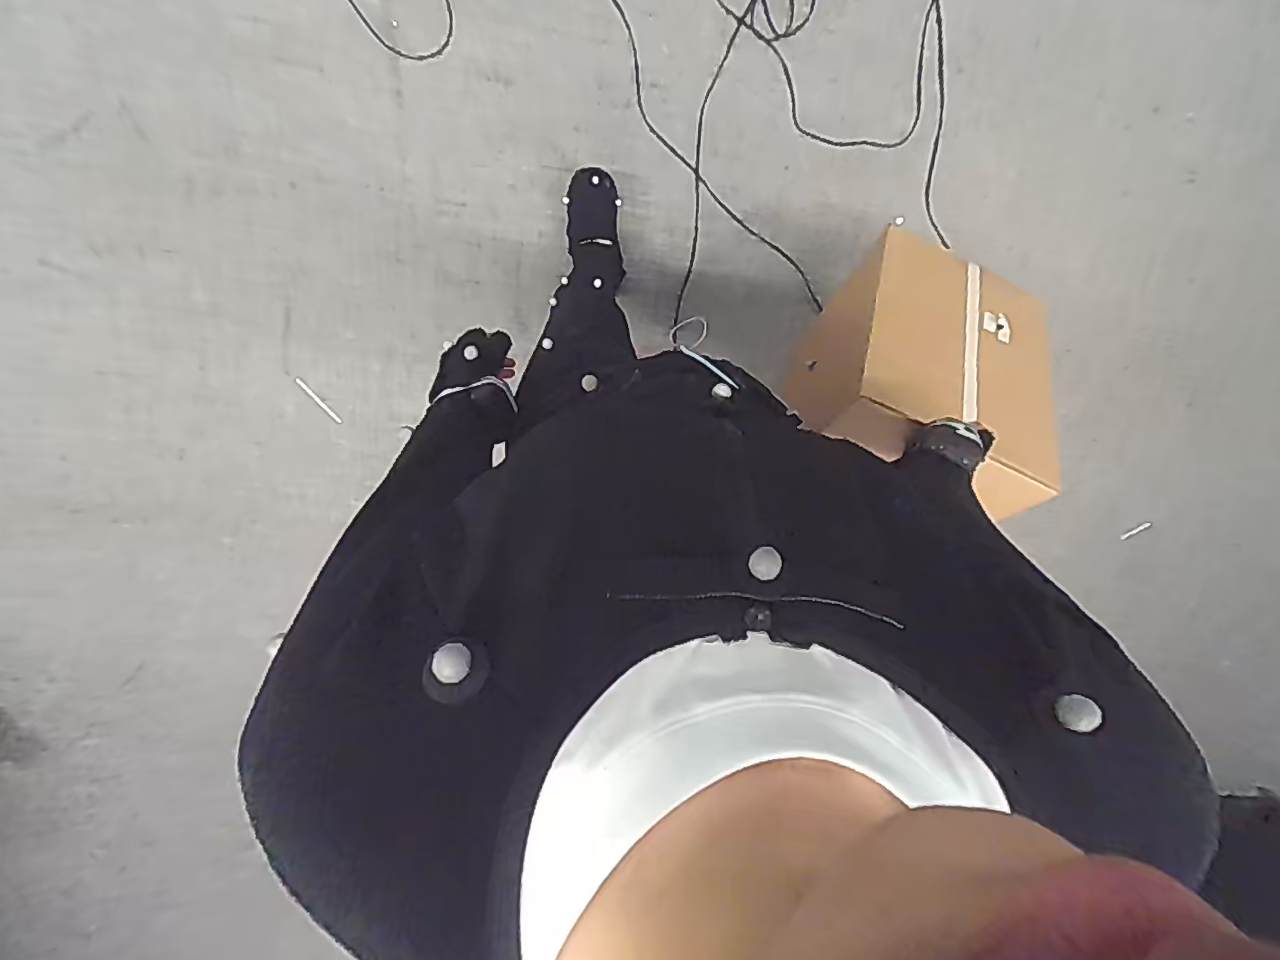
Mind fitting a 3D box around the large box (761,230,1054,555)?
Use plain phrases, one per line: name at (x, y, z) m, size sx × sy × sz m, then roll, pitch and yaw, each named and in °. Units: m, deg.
large box at (0.449, -0.139, 0.953) m, size 0.320 × 0.408 × 0.320 m, roll 25°, pitch 149°, yaw -5°
